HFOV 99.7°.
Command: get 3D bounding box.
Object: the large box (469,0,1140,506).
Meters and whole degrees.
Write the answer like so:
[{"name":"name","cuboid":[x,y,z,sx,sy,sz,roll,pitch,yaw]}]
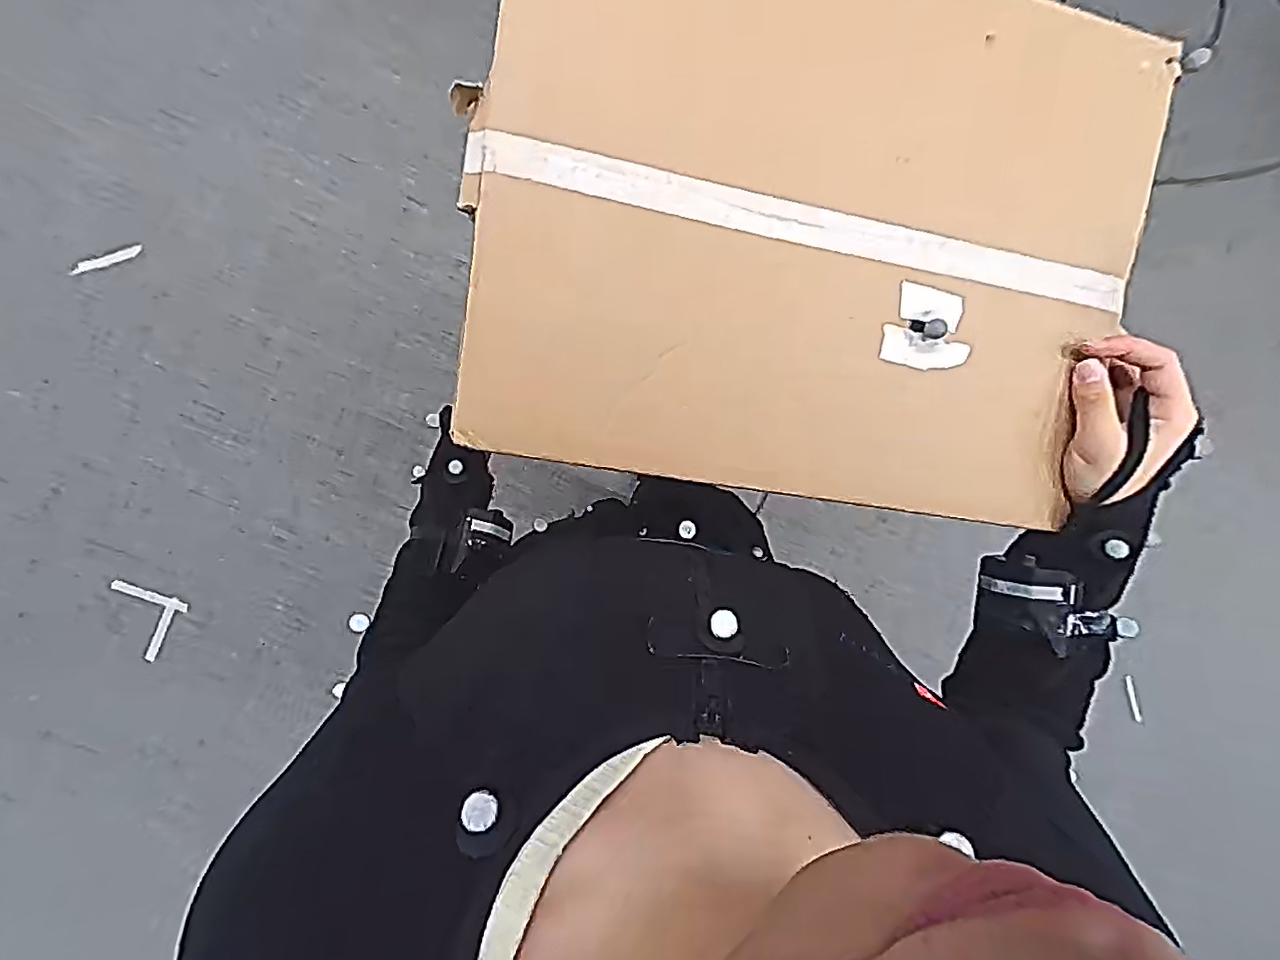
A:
[{"name":"large box","cuboid":[0.086,-0.170,0.473,0.408,0.320,0.320,7,97,-11]}]
